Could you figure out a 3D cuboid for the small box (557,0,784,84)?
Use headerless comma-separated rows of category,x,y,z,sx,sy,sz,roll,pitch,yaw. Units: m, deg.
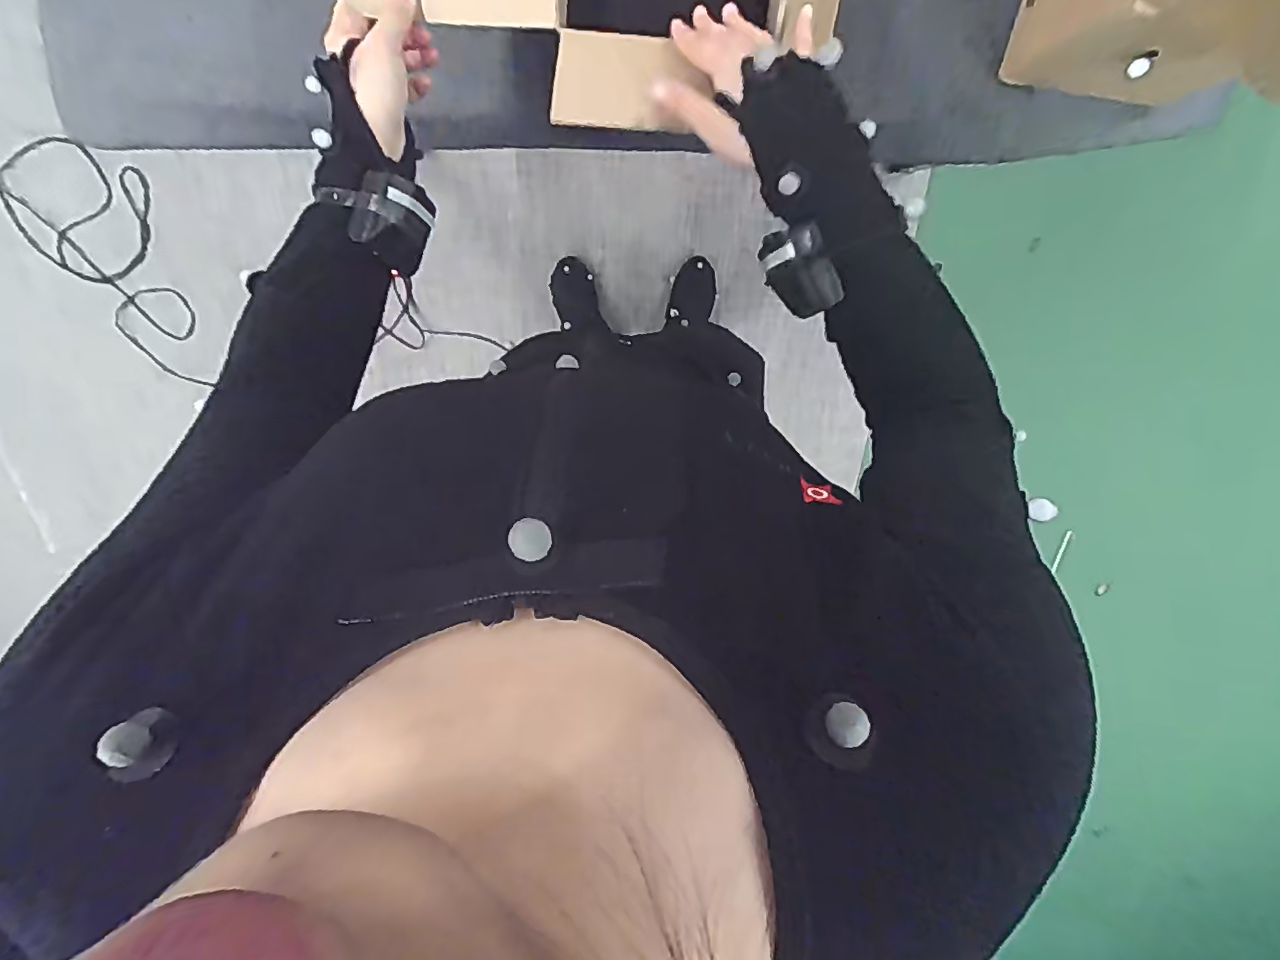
small box,0.033,-0.451,0.456,0.179,0.176,0.168,6,118,2

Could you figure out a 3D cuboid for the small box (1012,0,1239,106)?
small box,0.461,-0.435,0.448,0.179,0.176,0.168,8,112,-1
